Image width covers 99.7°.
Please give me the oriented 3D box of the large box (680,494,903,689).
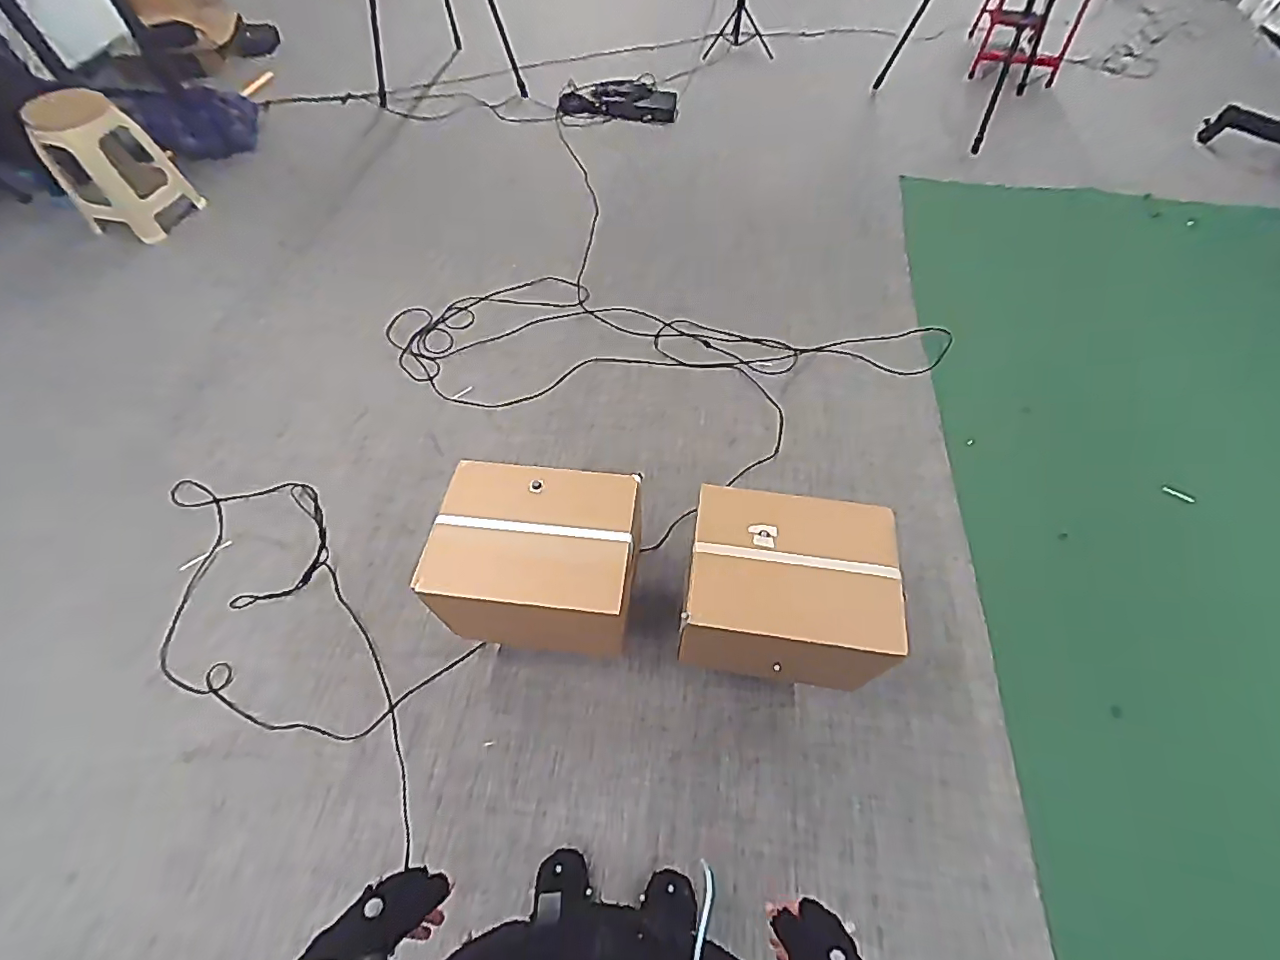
[{"bbox_3d":[0.312,0.258,1.209,0.408,0.320,0.320,7,57,6],"label":"large box"}]
